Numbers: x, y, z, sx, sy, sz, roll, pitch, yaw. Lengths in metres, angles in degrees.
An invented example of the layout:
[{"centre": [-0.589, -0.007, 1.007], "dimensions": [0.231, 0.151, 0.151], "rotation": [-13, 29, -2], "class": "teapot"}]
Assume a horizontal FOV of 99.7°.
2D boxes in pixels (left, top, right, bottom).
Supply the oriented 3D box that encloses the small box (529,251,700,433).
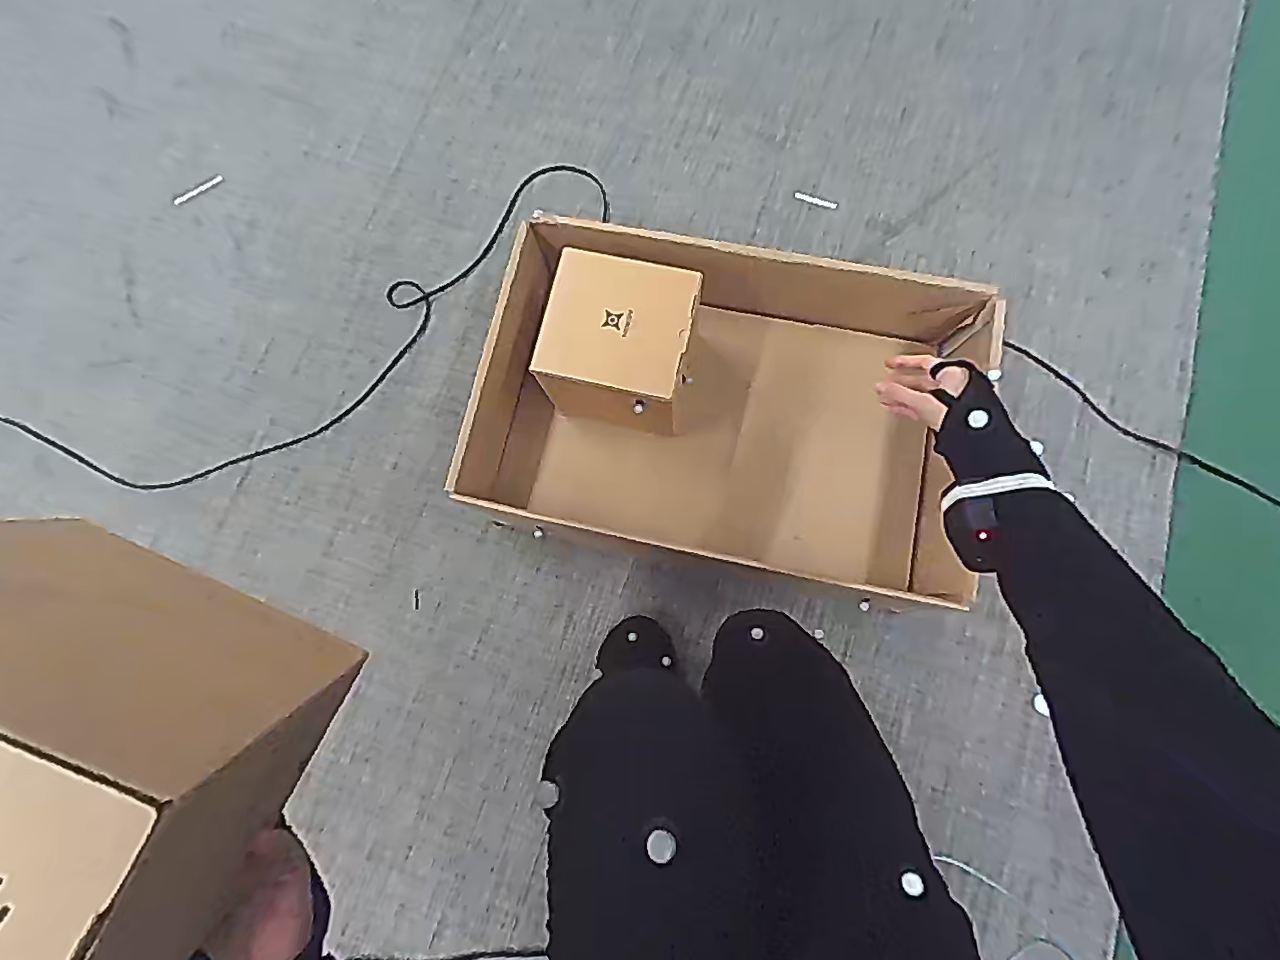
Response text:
[{"centre": [-0.026, -0.172, 0.720], "dimensions": [0.179, 0.176, 0.168], "rotation": [12, 81, 5], "class": "small box"}]
